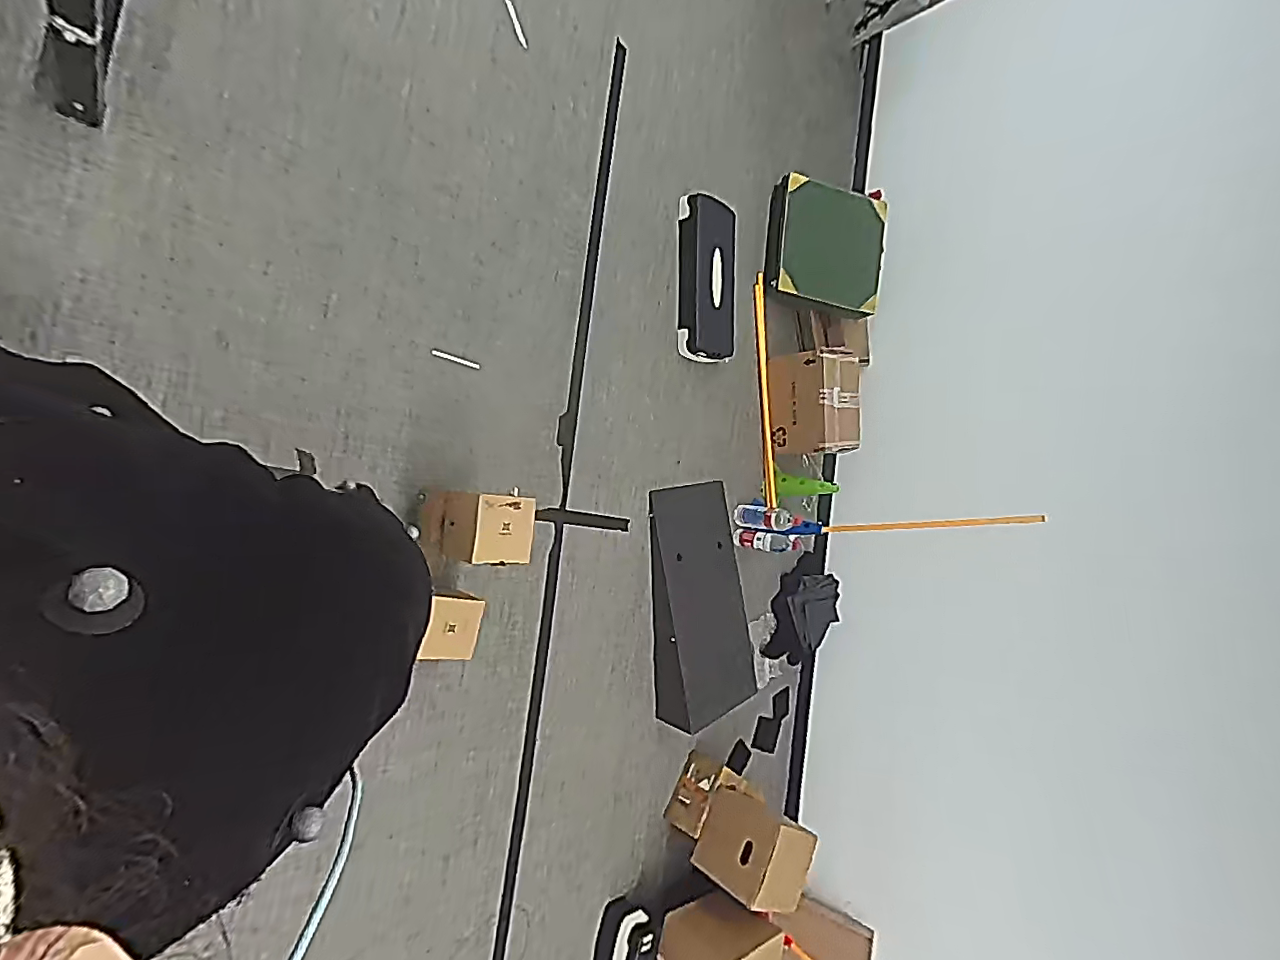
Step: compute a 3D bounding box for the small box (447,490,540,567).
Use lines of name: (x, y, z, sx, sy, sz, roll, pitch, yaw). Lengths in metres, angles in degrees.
small box: (-0.388, 0.125, 1.419, 0.168, 0.176, 0.179, 8, 88, -45)

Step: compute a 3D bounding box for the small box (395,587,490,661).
small box: (-0.553, 0.400, 1.506, 0.179, 0.176, 0.168, 19, 80, -44)

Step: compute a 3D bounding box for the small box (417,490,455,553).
small box: (-0.507, 0.123, 1.533, 0.179, 0.176, 0.168, 15, 82, -45)
